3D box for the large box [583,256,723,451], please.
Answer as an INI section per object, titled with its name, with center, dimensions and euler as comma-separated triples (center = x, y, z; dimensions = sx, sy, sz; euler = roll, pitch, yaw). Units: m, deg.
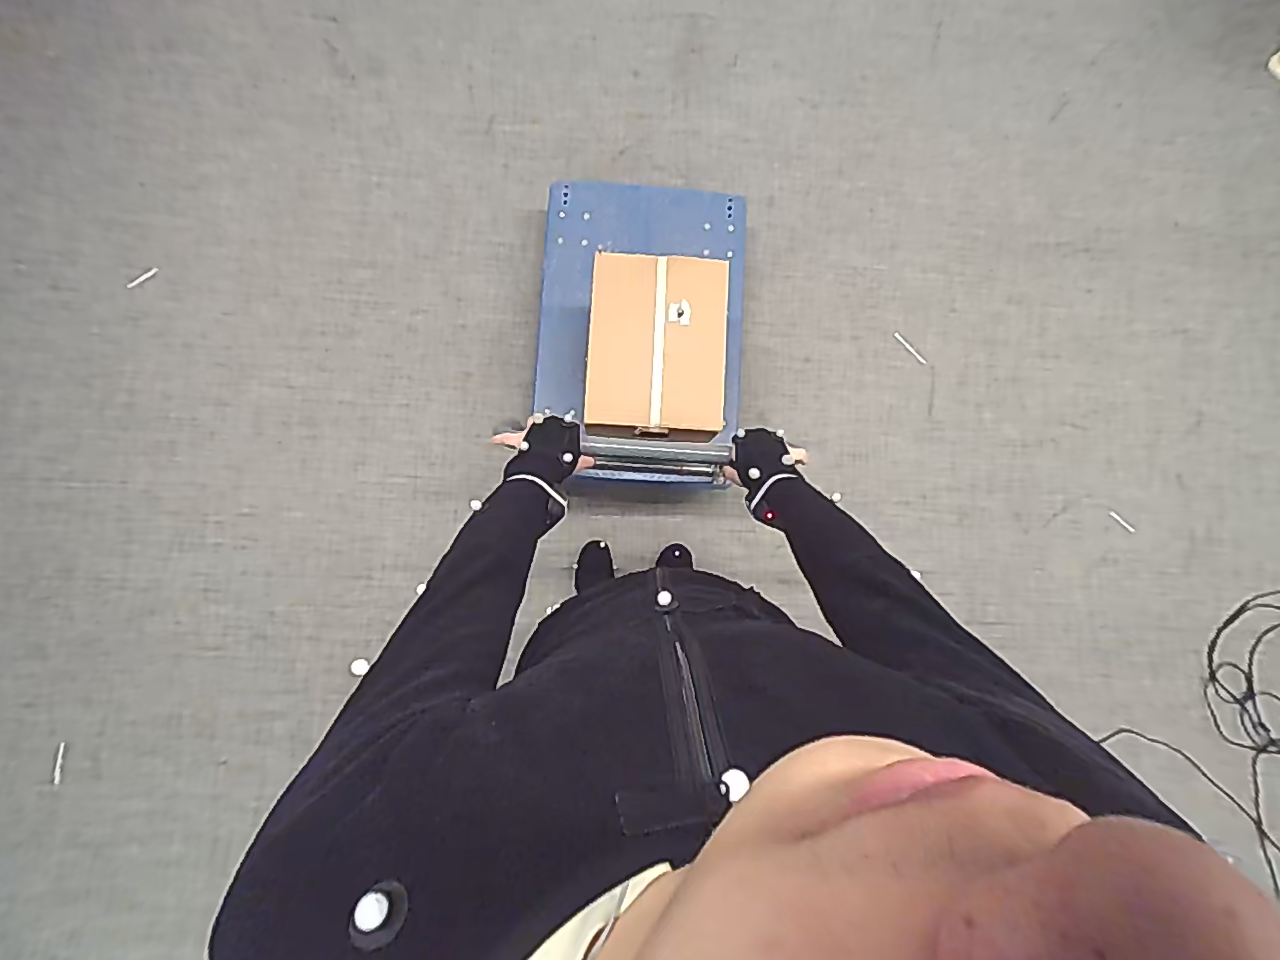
[large box]
center = 0.027, -0.295, 1.370
dimensions = 0.320, 0.320, 0.408
euler = 3, 83, -3
